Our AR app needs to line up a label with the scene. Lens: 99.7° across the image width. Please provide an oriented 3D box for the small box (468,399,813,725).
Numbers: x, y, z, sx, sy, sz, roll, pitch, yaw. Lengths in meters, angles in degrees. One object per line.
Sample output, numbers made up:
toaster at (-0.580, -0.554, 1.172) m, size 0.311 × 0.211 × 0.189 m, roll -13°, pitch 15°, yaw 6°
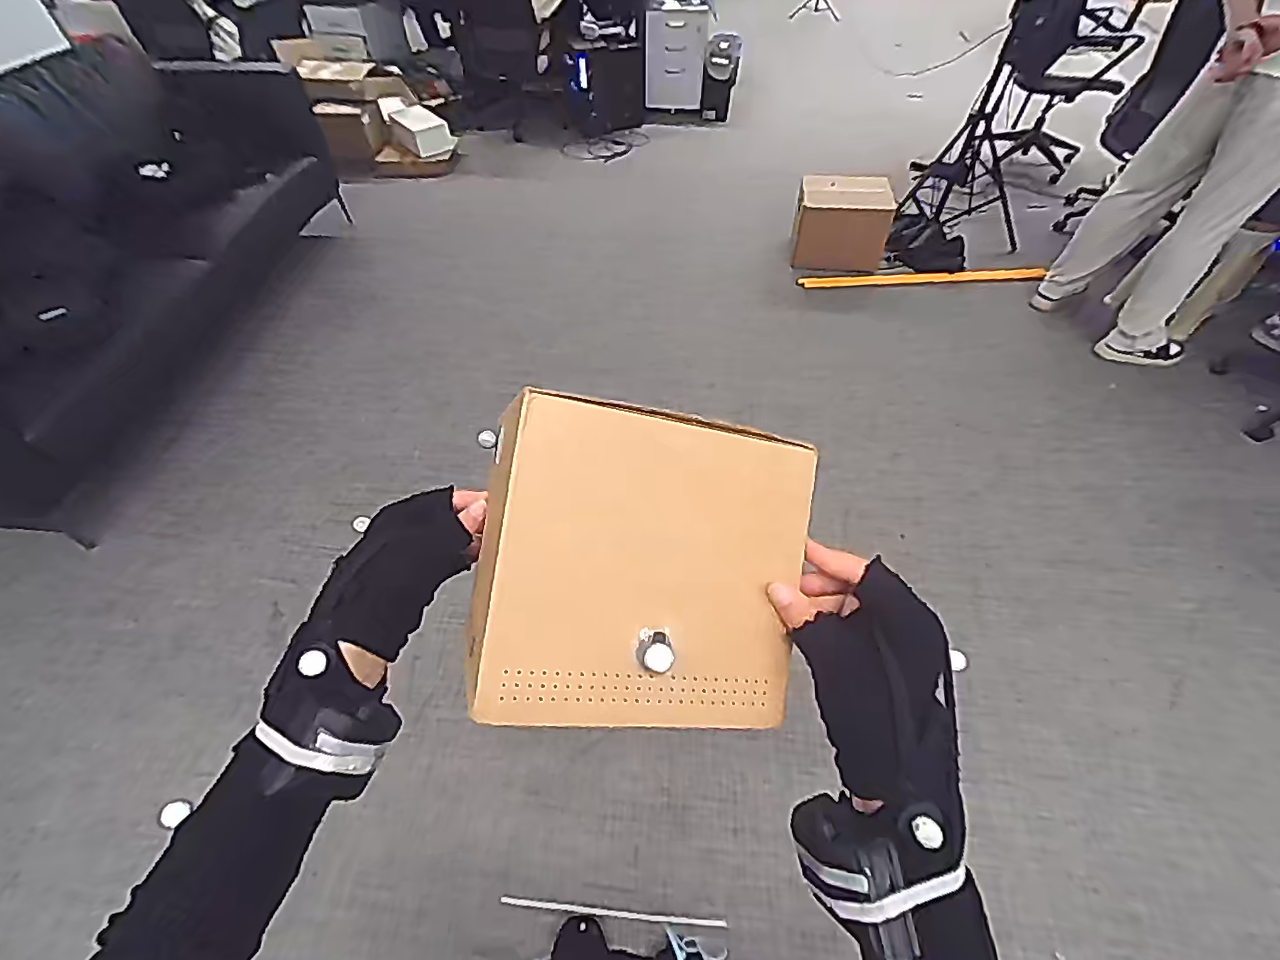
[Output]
small box at (-0.012, 0.054, 0.374) m, size 0.179 × 0.168 × 0.176 m, roll 10°, pitch 86°, yaw -19°
